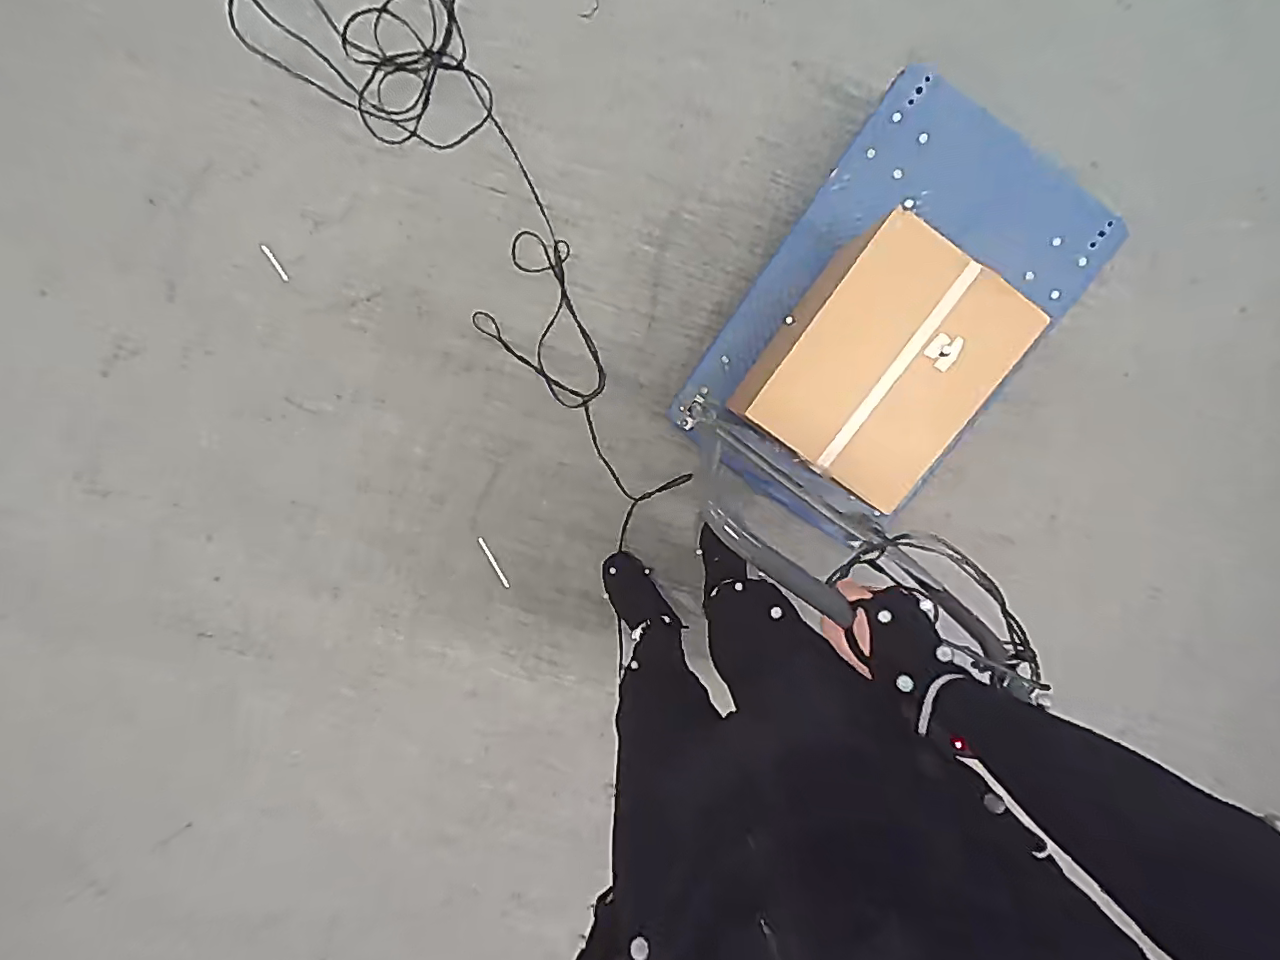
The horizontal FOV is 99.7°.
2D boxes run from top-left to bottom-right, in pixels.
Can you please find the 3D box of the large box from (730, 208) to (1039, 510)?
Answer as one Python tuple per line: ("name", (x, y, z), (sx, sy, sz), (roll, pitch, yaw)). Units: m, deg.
("large box", (0.421, -0.212, 1.044), (0.320, 0.320, 0.408), (35, 99, -4))
